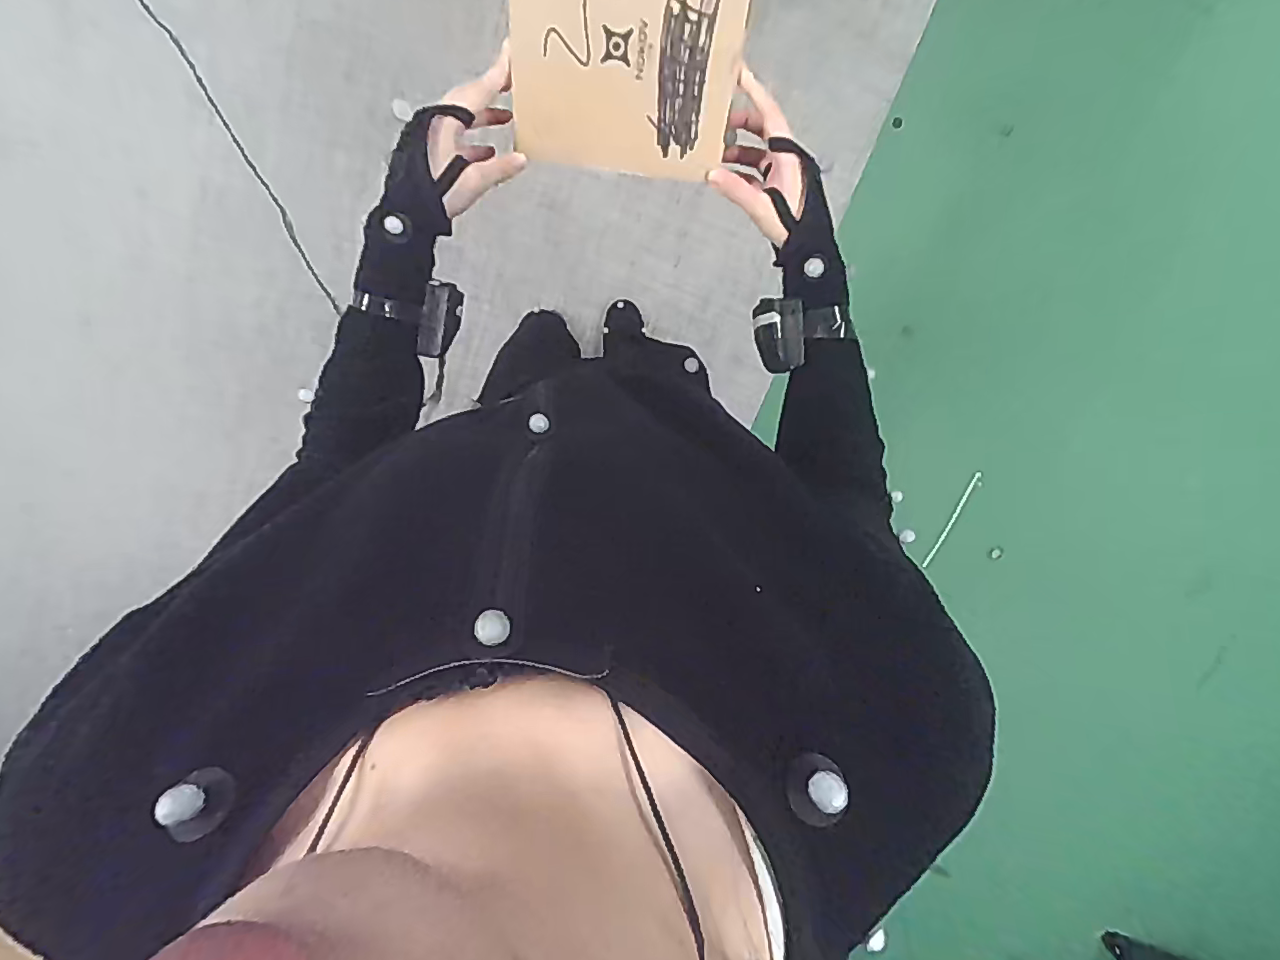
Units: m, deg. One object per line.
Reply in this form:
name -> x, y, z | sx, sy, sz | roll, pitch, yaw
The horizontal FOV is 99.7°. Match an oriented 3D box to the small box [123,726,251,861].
small box -> -1.028, 0.697, 1.220 | 0.168, 0.176, 0.179 | 26, 104, -6
